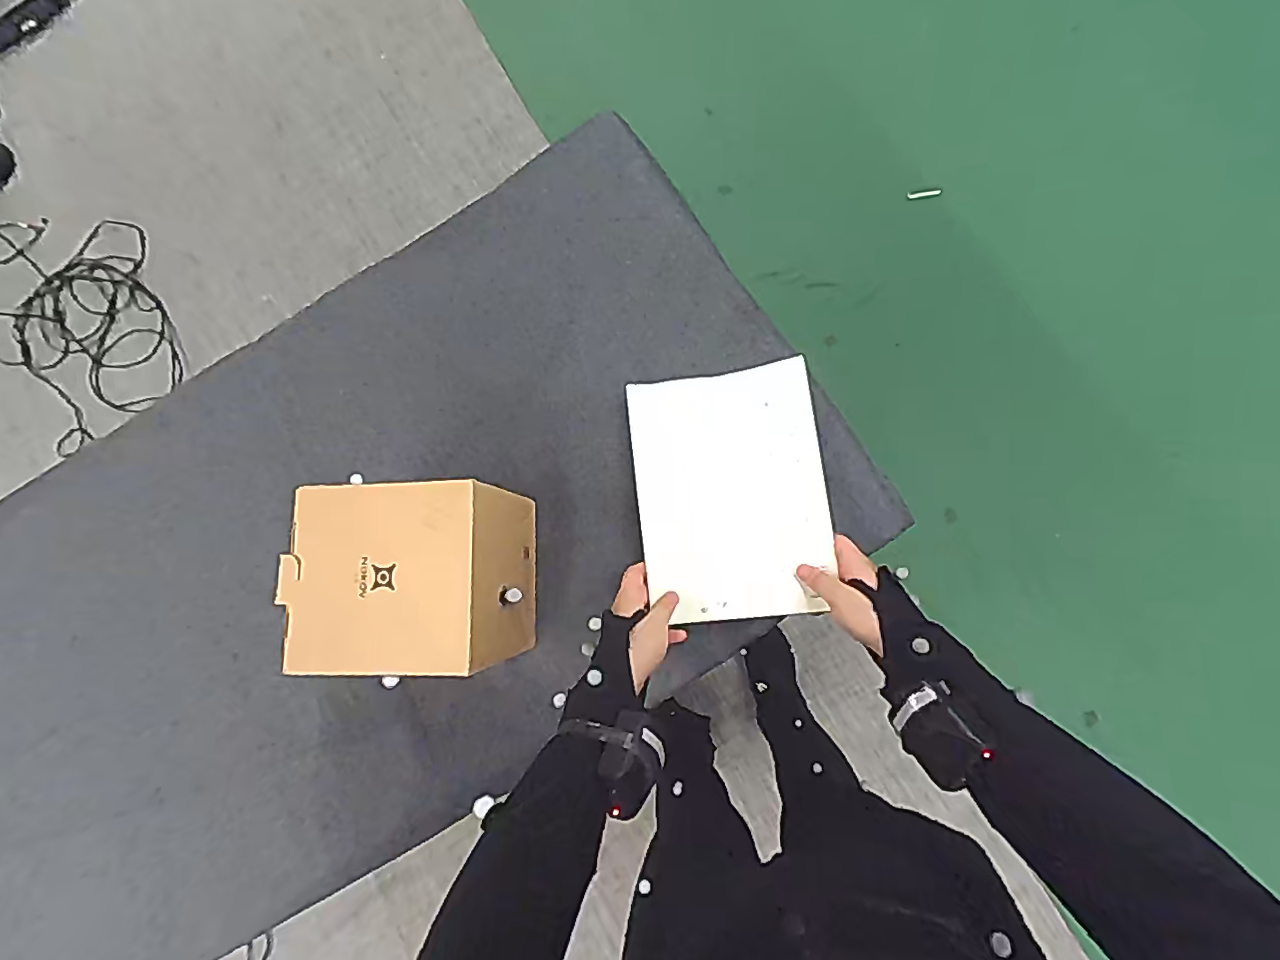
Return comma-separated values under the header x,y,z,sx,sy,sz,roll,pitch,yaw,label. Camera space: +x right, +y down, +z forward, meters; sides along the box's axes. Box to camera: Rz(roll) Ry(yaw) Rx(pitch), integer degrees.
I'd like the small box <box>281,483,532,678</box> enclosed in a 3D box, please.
x,y,z,sx,sy,sz,roll,pitch,yaw,label
-0.215,0.095,0.543,0.179,0.176,0.168,-3,82,9,small box
